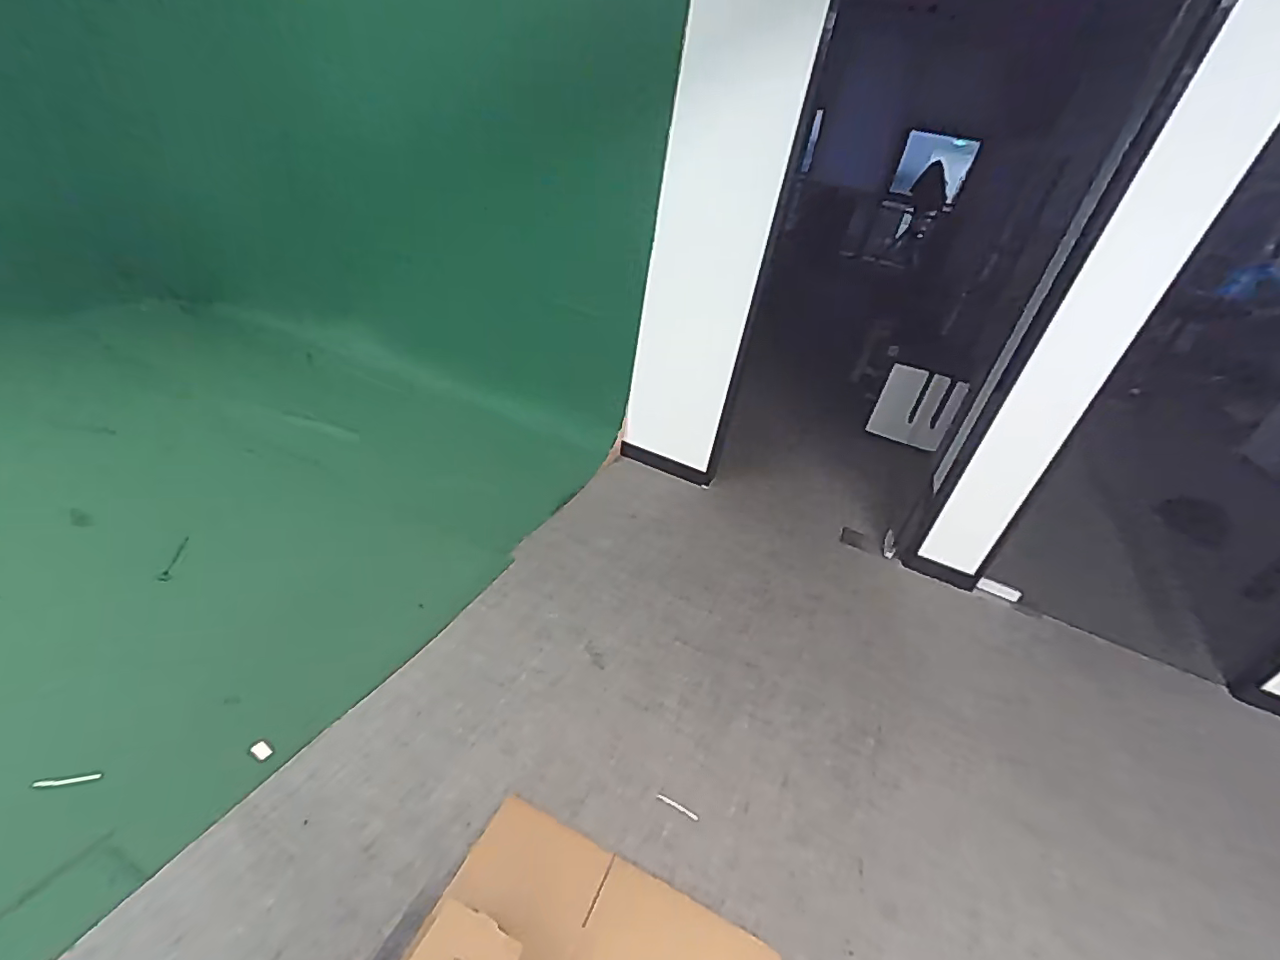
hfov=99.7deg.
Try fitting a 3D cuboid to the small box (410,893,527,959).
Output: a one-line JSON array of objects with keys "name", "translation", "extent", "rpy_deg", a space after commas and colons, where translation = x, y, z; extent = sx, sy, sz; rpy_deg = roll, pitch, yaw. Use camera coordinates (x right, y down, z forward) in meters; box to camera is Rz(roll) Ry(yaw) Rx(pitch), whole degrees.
[{"name": "small box", "translation": [-0.320, 0.899, 0.959], "extent": [0.168, 0.176, 0.179], "rpy_deg": [20, 35, 16]}]
